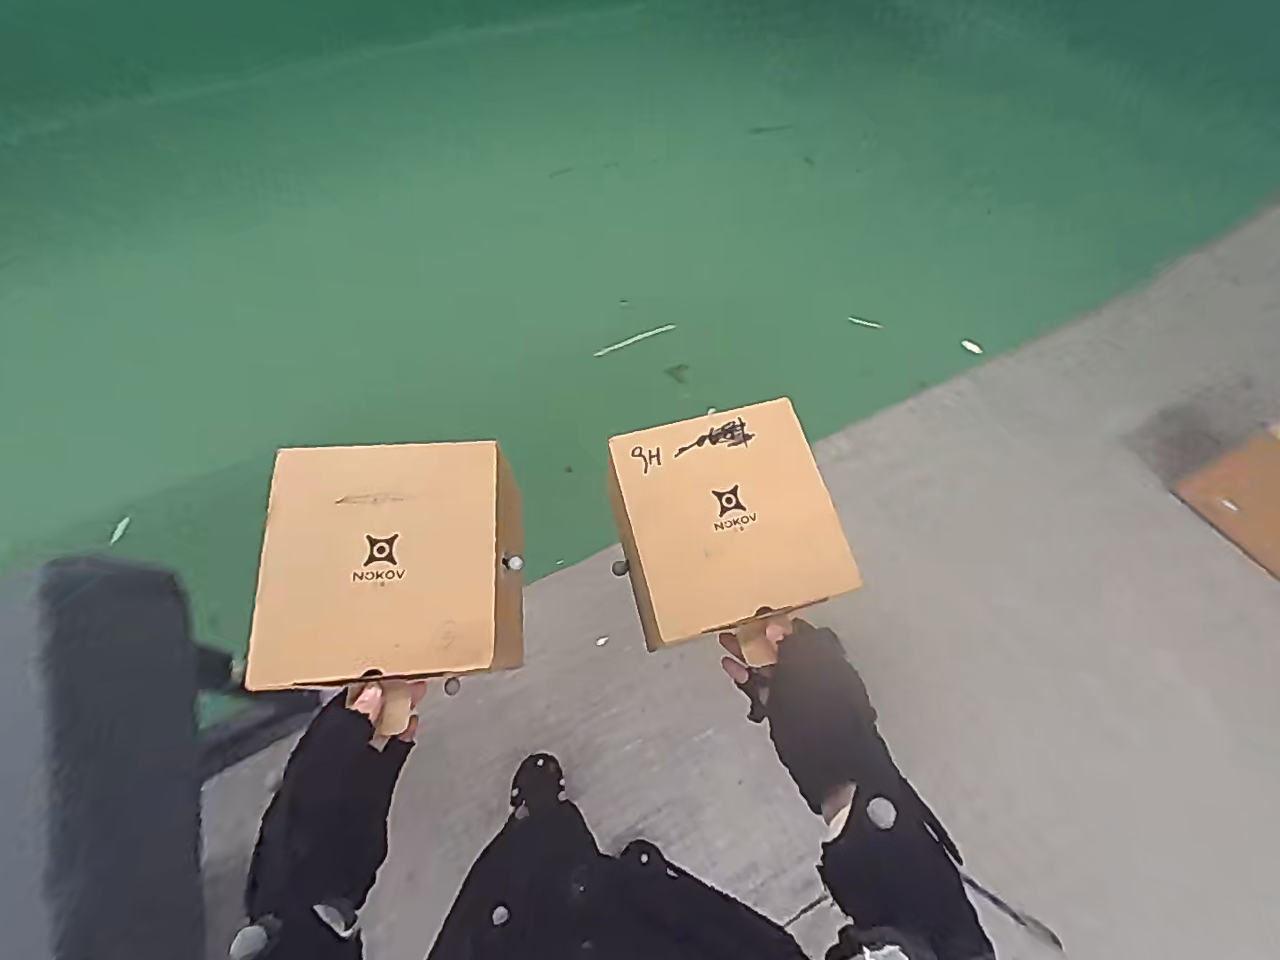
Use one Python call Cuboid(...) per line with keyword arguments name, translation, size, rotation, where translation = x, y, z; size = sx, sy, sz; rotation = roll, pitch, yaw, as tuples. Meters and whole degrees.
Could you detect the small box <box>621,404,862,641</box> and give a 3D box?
Cuboid(name="small box", translation=(0.079, 0.051, 0.523), size=(0.168, 0.176, 0.179), rotation=(-11, 73, -7))
